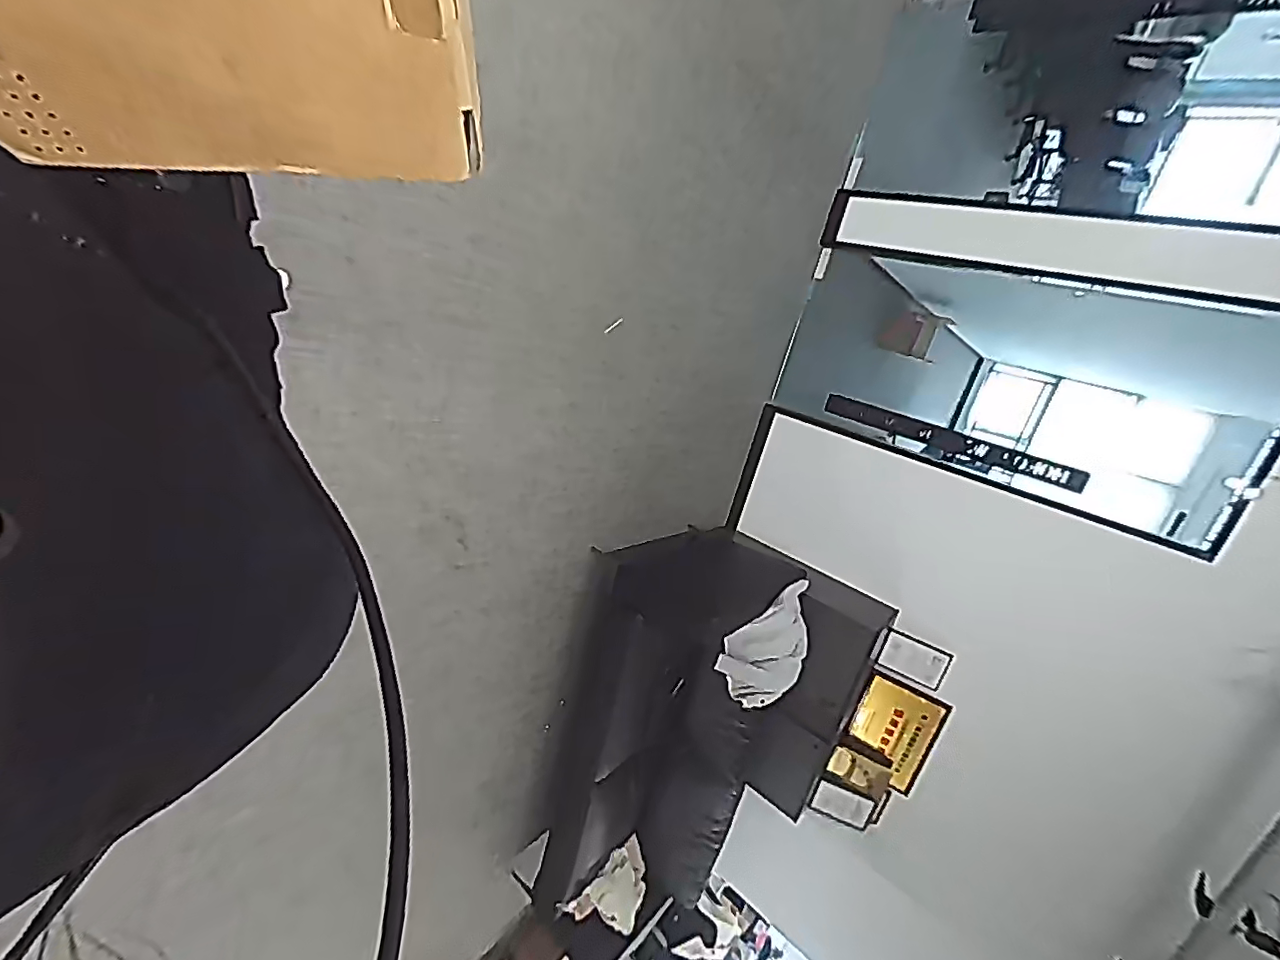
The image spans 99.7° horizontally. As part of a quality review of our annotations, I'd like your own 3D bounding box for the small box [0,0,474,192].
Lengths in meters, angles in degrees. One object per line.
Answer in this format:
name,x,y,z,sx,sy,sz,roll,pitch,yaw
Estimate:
small box,-0.153,-0.226,0.176,0.176,0.179,0.168,-4,159,-12
